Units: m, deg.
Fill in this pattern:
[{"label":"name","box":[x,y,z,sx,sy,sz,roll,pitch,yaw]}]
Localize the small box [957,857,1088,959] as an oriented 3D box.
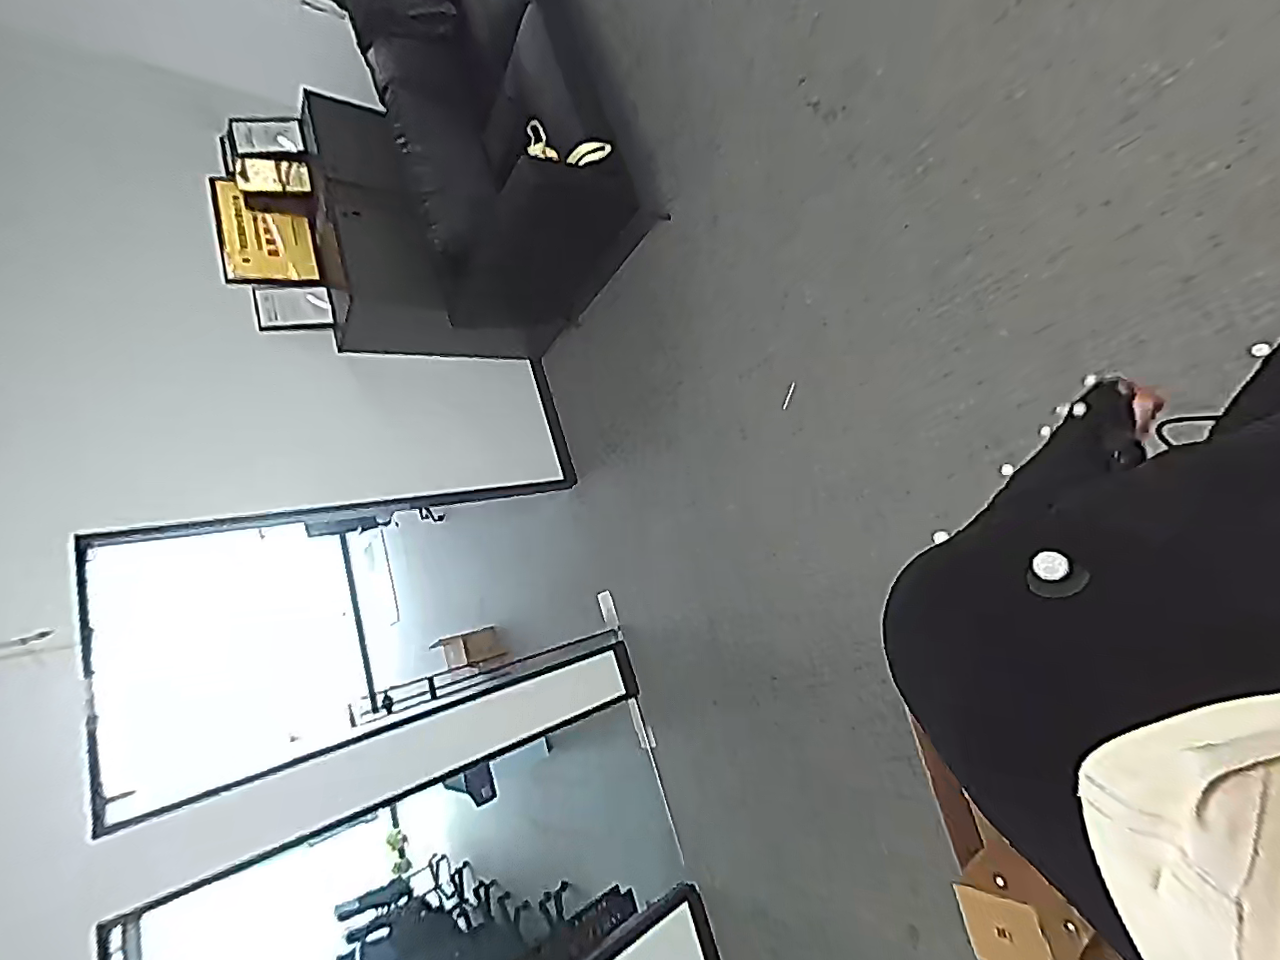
[{"label":"small box","box":[0.878,1.009,1.244,0.179,0.176,0.168,-27,74,50]}]
